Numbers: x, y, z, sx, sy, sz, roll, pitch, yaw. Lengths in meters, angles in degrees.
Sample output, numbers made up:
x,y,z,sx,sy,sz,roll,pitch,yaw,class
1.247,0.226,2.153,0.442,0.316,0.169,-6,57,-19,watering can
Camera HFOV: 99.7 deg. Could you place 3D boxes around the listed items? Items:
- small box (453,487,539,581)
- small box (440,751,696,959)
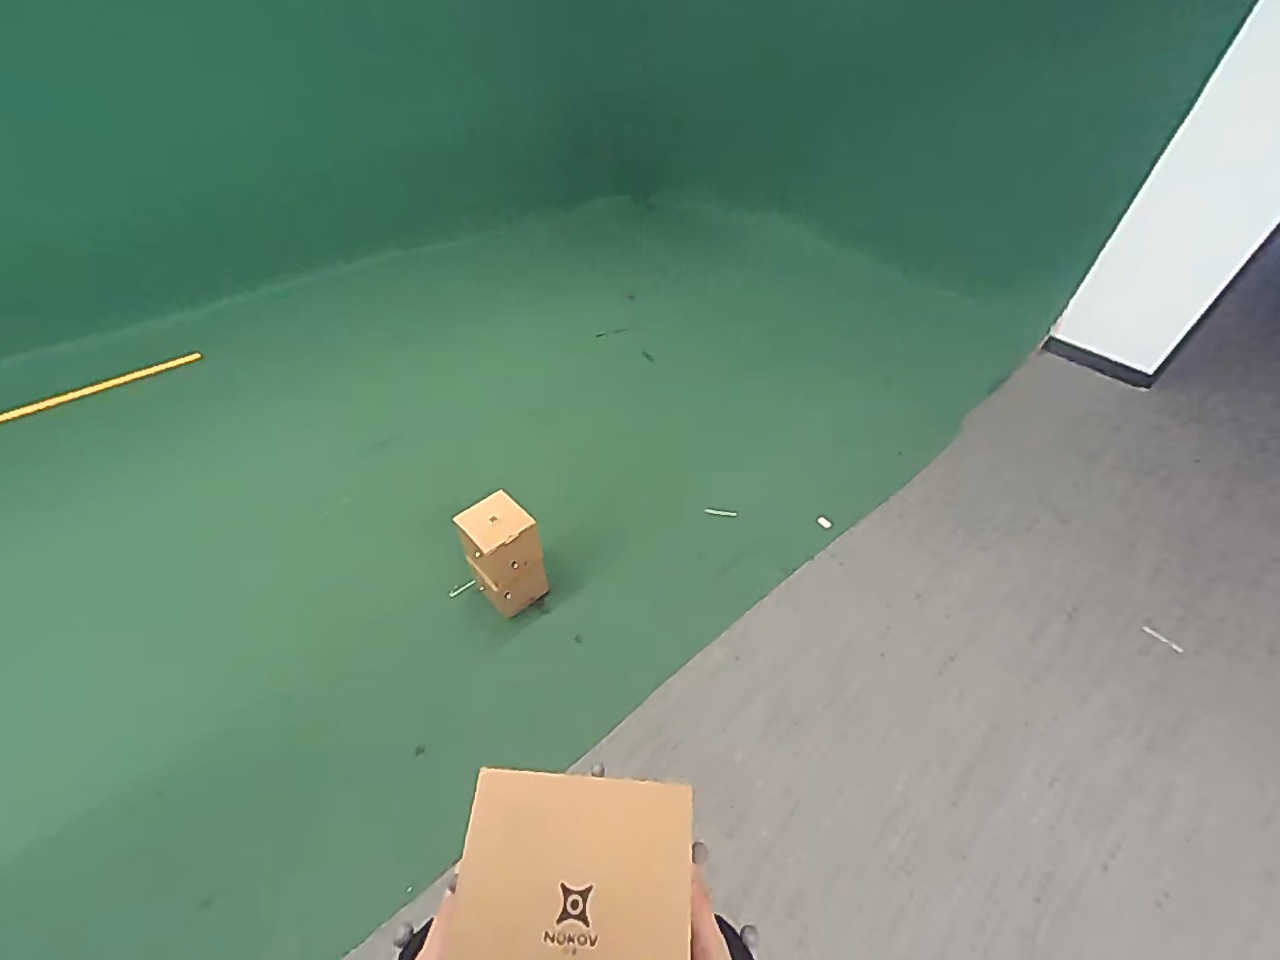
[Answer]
x,y,z,sx,sy,sz,roll,pitch,yaw,class
-0.413,0.159,1.573,0.168,0.176,0.179,-34,56,-30,small box
-0.050,0.333,0.438,0.168,0.176,0.179,6,58,0,small box
